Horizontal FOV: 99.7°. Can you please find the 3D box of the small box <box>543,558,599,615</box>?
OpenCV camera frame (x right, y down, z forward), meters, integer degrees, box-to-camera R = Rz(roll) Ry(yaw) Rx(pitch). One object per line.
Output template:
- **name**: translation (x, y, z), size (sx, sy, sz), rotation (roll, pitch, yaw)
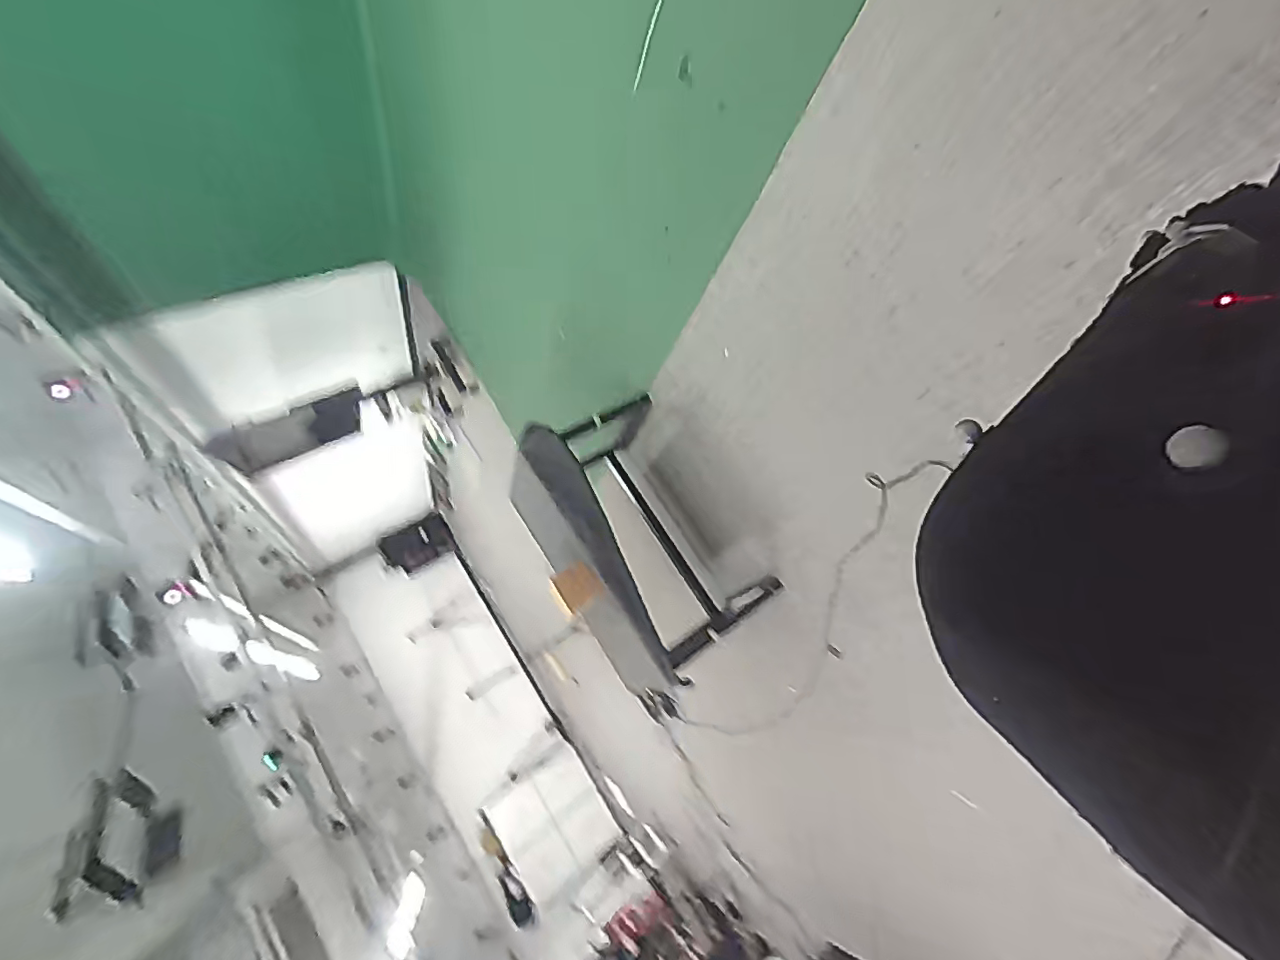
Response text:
- **small box**: translation (-0.304, 0.463, 2.380), size (0.179, 0.176, 0.168), rotation (54, 154, 12)
